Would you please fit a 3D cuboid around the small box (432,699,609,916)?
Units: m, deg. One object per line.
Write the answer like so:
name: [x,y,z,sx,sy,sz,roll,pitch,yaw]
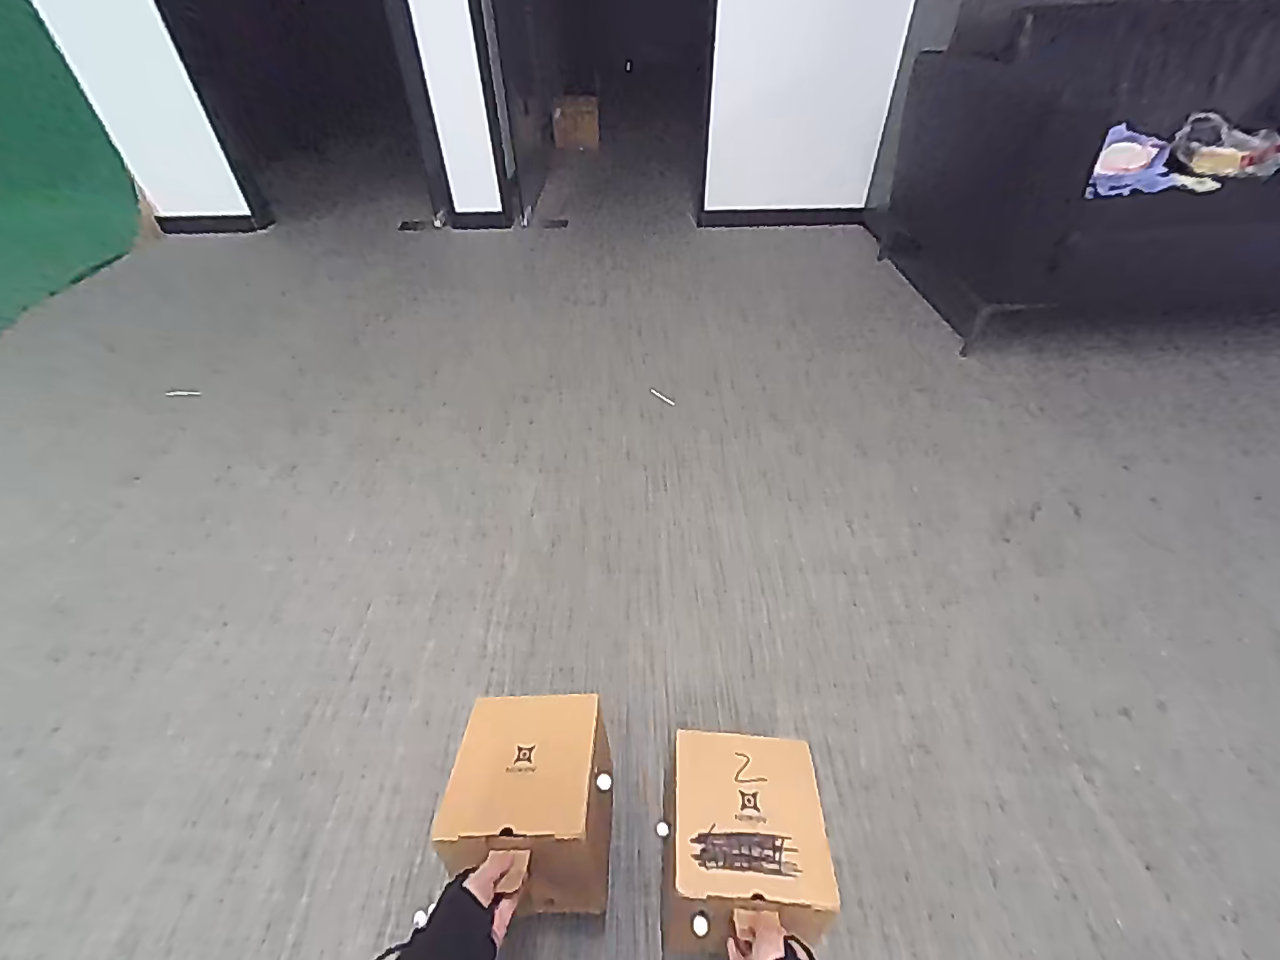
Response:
small box: [-0.132,0.402,0.676,0.168,0.176,0.179,-3,31,4]
